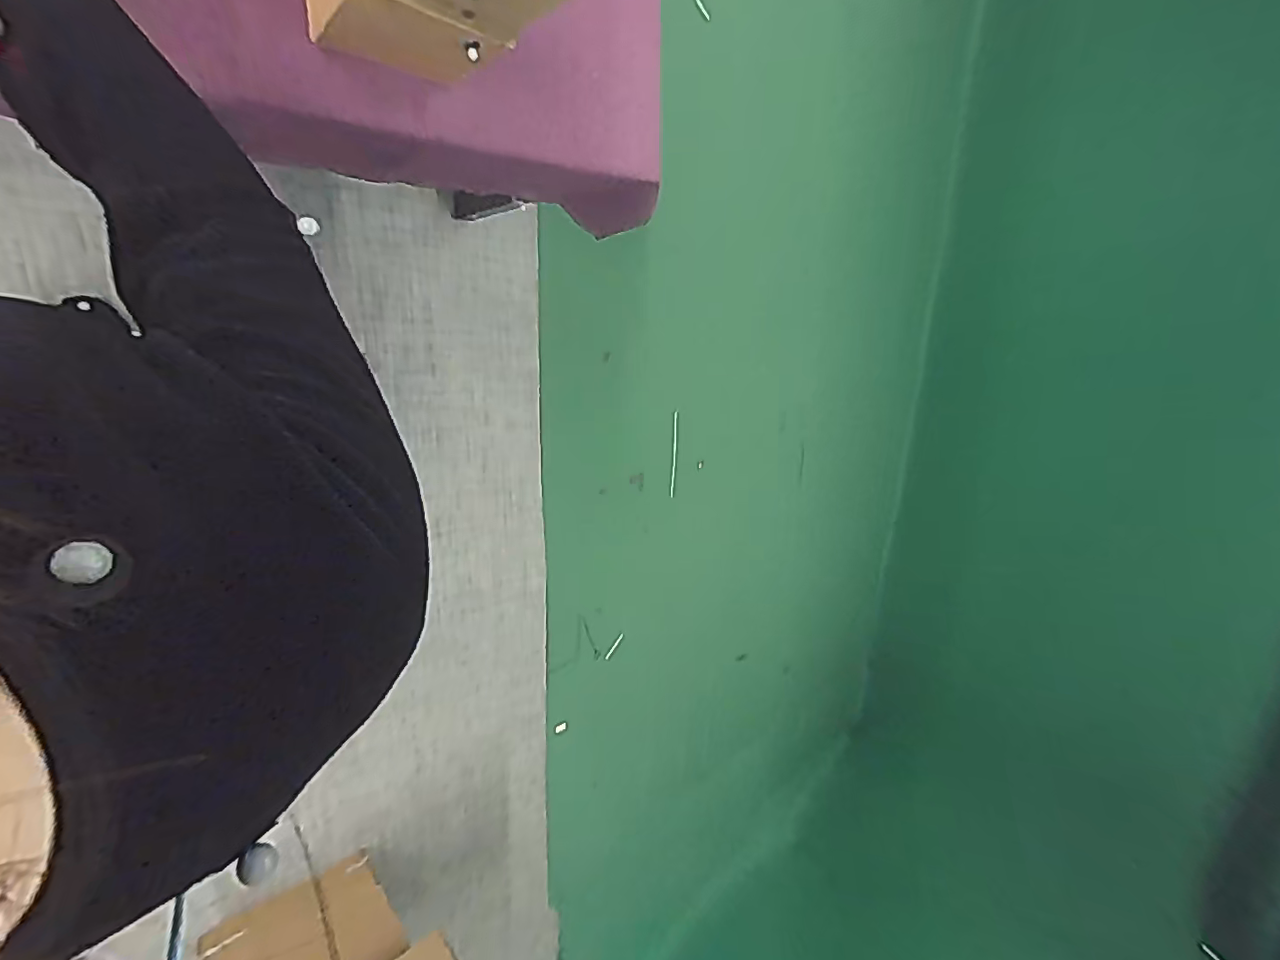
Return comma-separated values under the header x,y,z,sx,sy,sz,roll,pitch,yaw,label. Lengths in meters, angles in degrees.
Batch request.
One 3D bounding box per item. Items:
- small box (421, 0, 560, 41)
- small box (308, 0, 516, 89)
x,y,z,sx,sy,sz,roll,pitch,yaw,label
-0.146,-0.538,0.475,0.168,0.176,0.179,-10,108,-42,small box
-0.257,-0.567,0.594,0.179,0.176,0.168,-13,110,-41,small box
